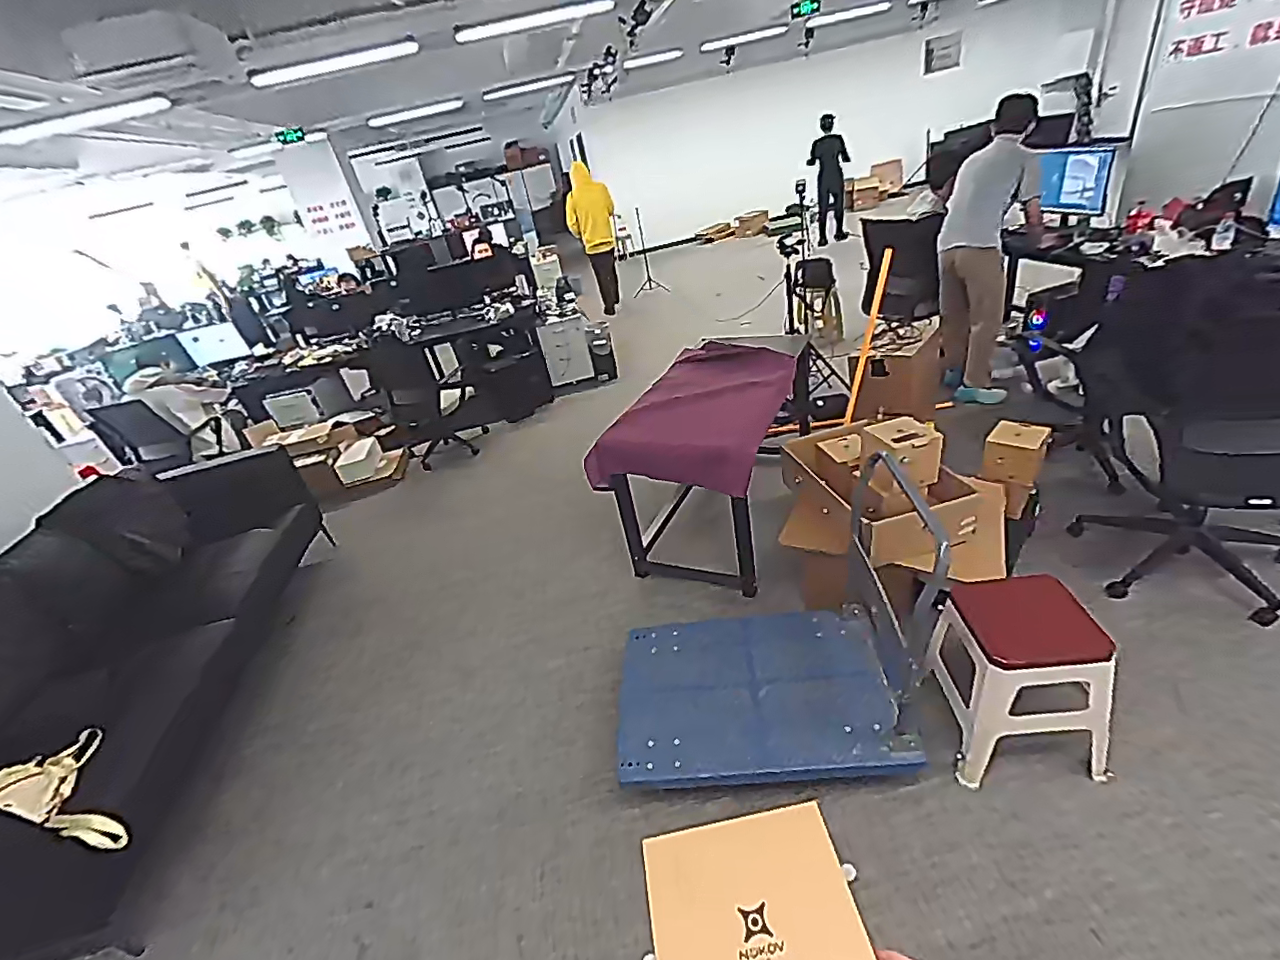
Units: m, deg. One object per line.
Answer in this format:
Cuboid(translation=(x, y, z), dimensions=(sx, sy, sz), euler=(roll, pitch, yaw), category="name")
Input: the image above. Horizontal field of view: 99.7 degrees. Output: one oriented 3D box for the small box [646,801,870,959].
Cuboid(translation=(0.105, 0.427, 0.478), dimensions=(0.168, 0.176, 0.179), euler=(-12, 33, 1), category="small box")
